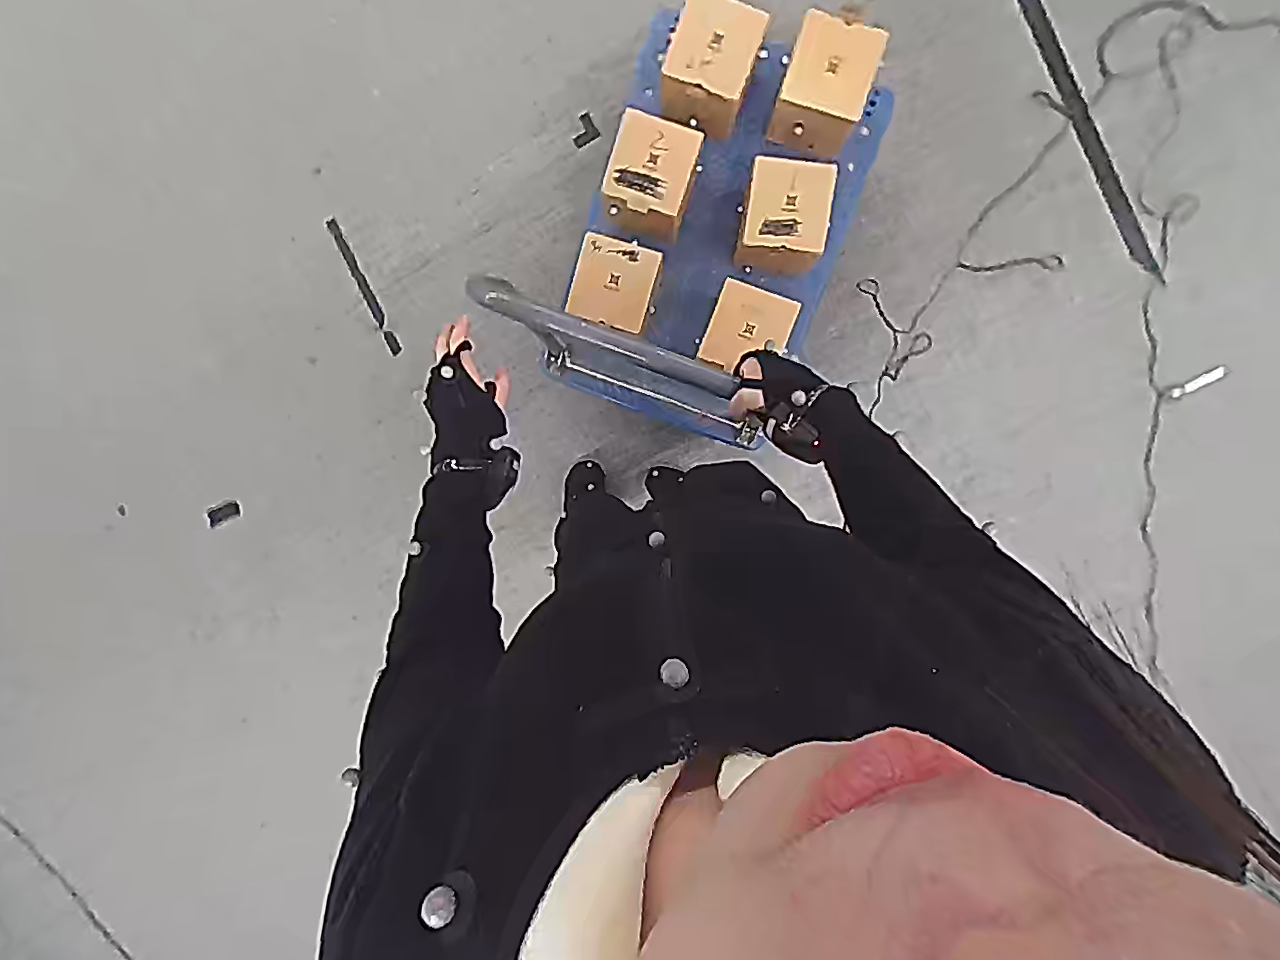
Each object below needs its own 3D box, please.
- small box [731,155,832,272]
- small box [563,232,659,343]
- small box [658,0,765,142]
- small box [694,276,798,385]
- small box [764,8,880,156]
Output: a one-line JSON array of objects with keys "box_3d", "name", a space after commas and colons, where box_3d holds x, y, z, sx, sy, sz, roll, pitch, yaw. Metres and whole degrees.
[{"box_3d": [0.298, -0.567, 1.173, 0.168, 0.176, 0.179, 8, 95, 1], "name": "small box"}, {"box_3d": [-0.057, -0.415, 1.200, 0.168, 0.176, 0.179, 16, 96, -1], "name": "small box"}, {"box_3d": [0.142, -0.870, 1.147, 0.168, 0.176, 0.179, 21, 97, 0], "name": "small box"}, {"box_3d": [0.225, -0.321, 1.201, 0.168, 0.176, 0.179, 20, 95, -1], "name": "small box"}, {"box_3d": [0.373, -0.827, 1.145, 0.168, 0.176, 0.179, 17, 96, 0], "name": "small box"}]
